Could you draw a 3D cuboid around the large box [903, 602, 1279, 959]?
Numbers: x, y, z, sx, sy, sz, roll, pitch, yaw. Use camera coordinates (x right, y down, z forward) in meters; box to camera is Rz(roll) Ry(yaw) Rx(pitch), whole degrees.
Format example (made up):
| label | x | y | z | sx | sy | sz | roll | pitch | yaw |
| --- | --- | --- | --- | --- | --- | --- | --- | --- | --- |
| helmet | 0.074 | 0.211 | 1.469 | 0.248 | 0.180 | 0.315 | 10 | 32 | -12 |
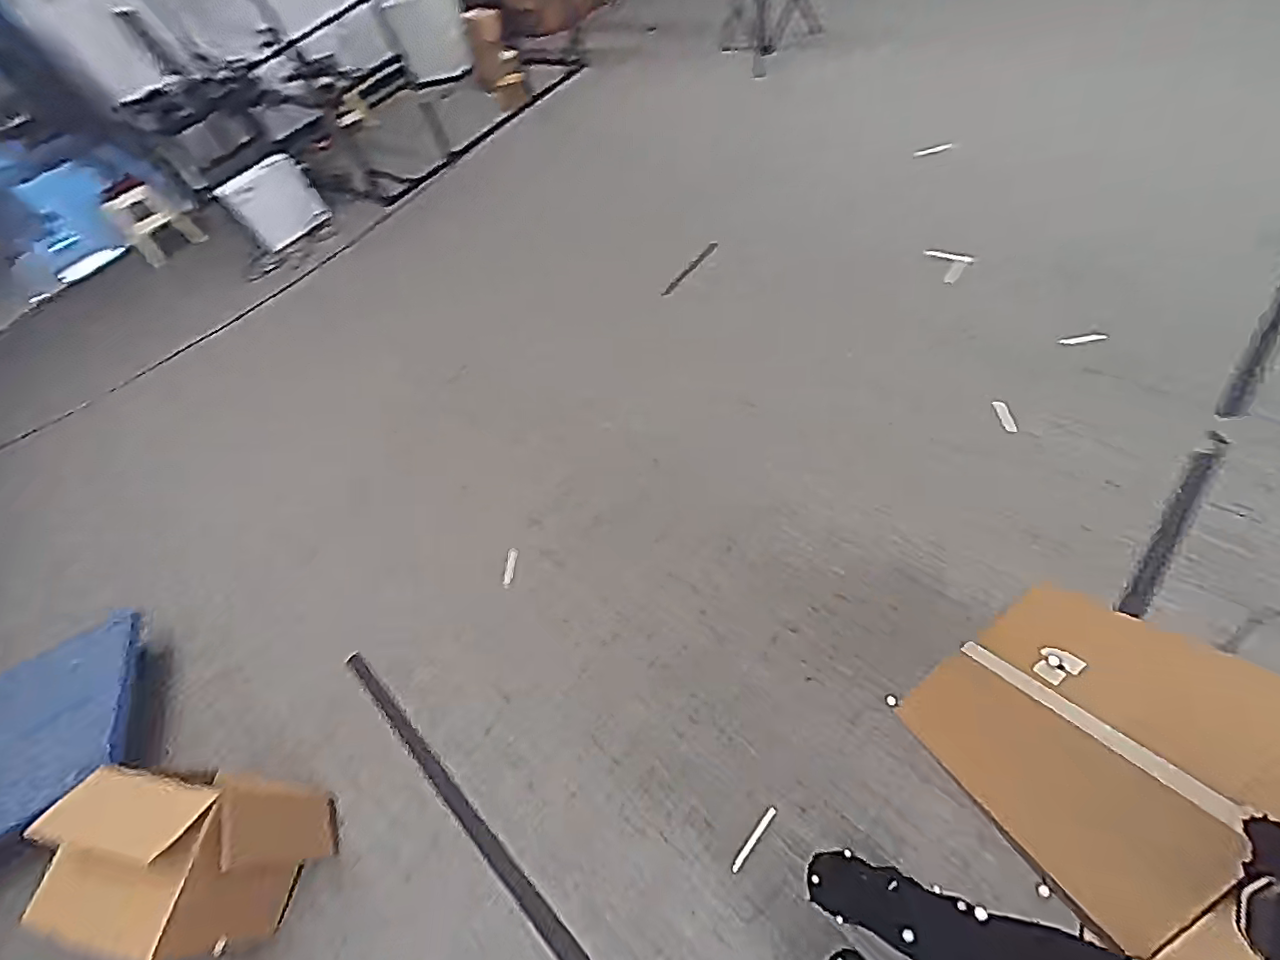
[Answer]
| label | x | y | z | sx | sy | sz | roll | pitch | yaw |
| --- | --- | --- | --- | --- | --- | --- | --- | --- | --- |
| large box | 0.644 | 0.422 | 0.680 | 0.320 | 0.320 | 0.408 | -40 | 7 | 1 |
